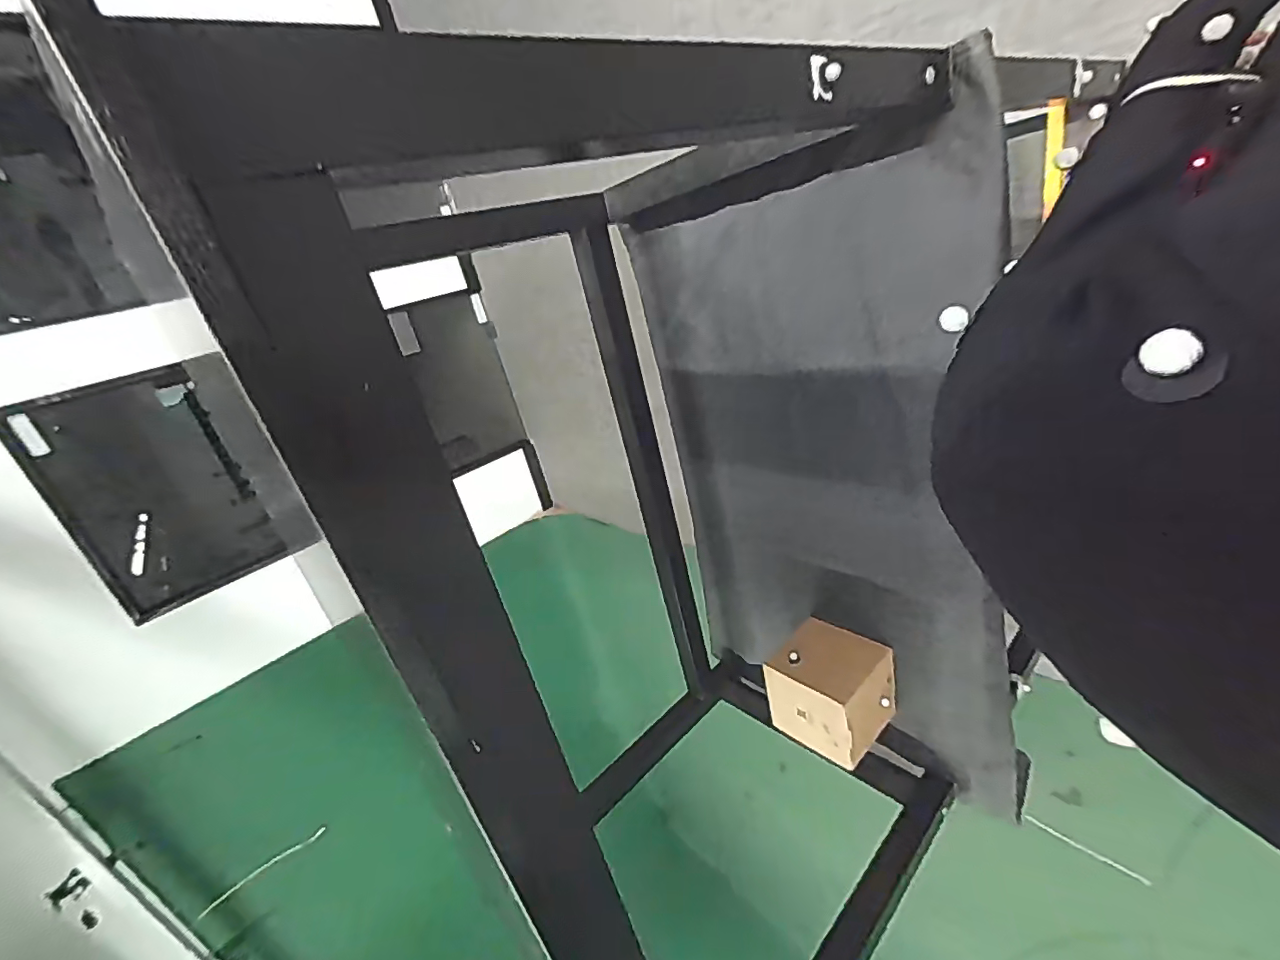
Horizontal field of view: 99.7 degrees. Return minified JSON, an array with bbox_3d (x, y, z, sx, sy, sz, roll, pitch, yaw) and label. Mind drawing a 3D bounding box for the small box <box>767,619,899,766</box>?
[{"bbox_3d":[0.372,0.394,1.040,0.179,0.176,0.168,14,126,49],"label":"small box"}]
